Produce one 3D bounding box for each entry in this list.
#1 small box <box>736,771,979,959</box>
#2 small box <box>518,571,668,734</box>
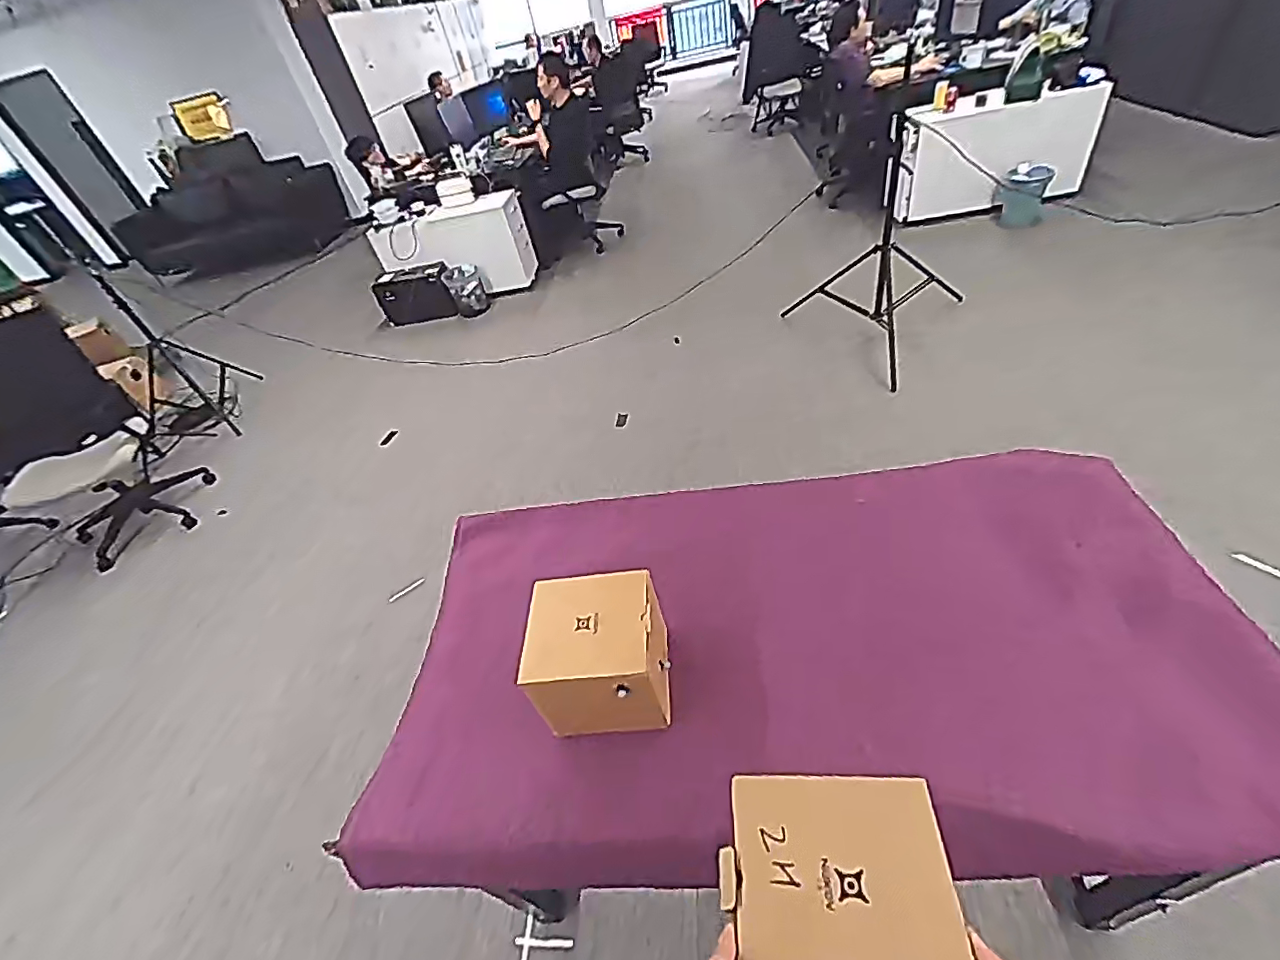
[{"bbox_3d":[0.185,0.387,0.494,0.179,0.176,0.168,-6,40,13],"label":"small box"},{"bbox_3d":[-0.058,0.259,0.799,0.179,0.176,0.168,-8,42,7],"label":"small box"}]
